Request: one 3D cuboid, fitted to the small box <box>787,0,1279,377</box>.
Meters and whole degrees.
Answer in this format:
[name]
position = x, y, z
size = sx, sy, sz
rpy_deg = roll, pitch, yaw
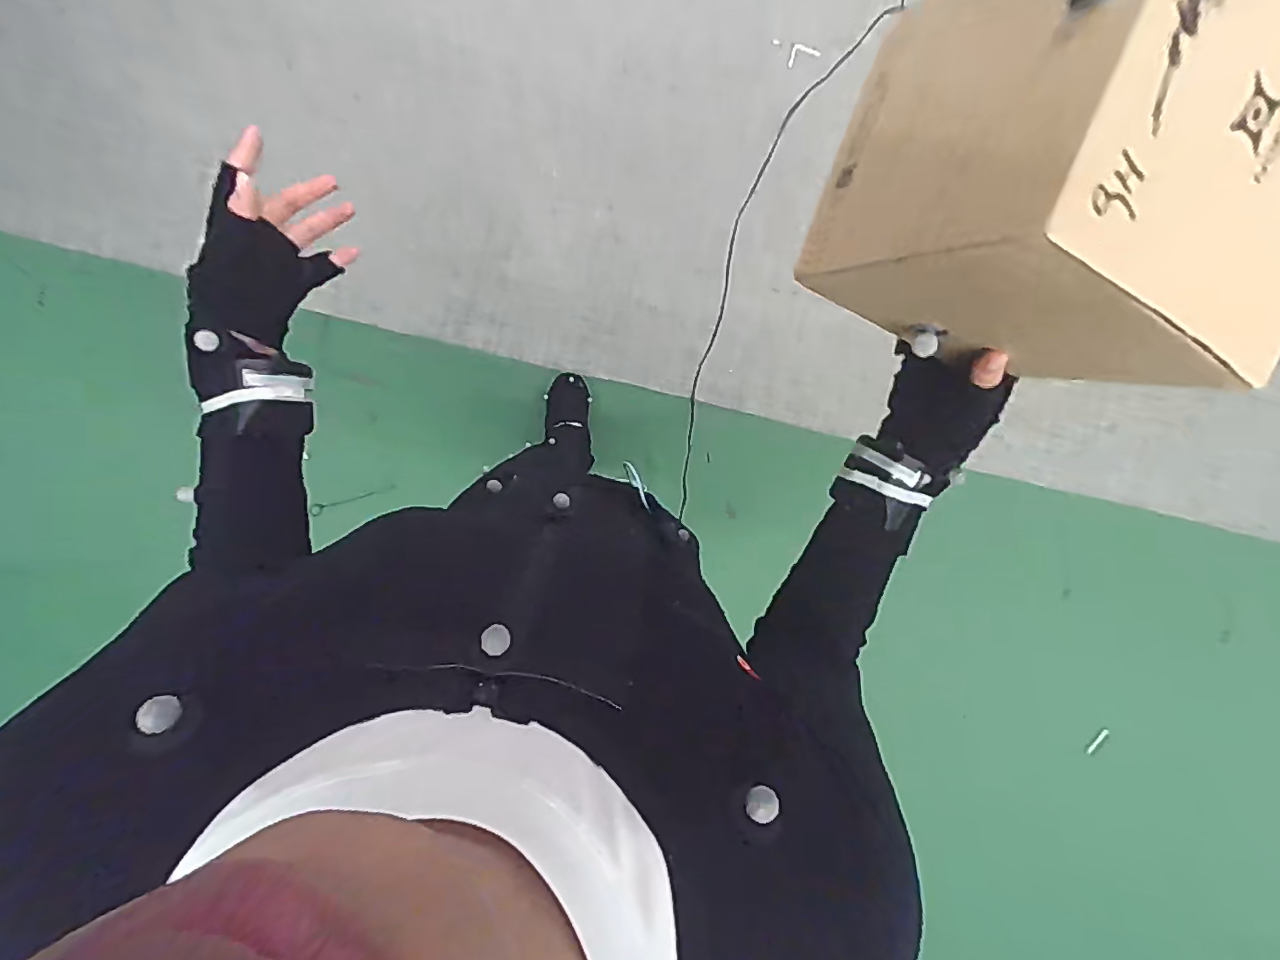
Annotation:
[small box]
position = 0.217, -0.168, 0.291
size = 0.179, 0.176, 0.168
rpy_deg = 17, 98, -23
